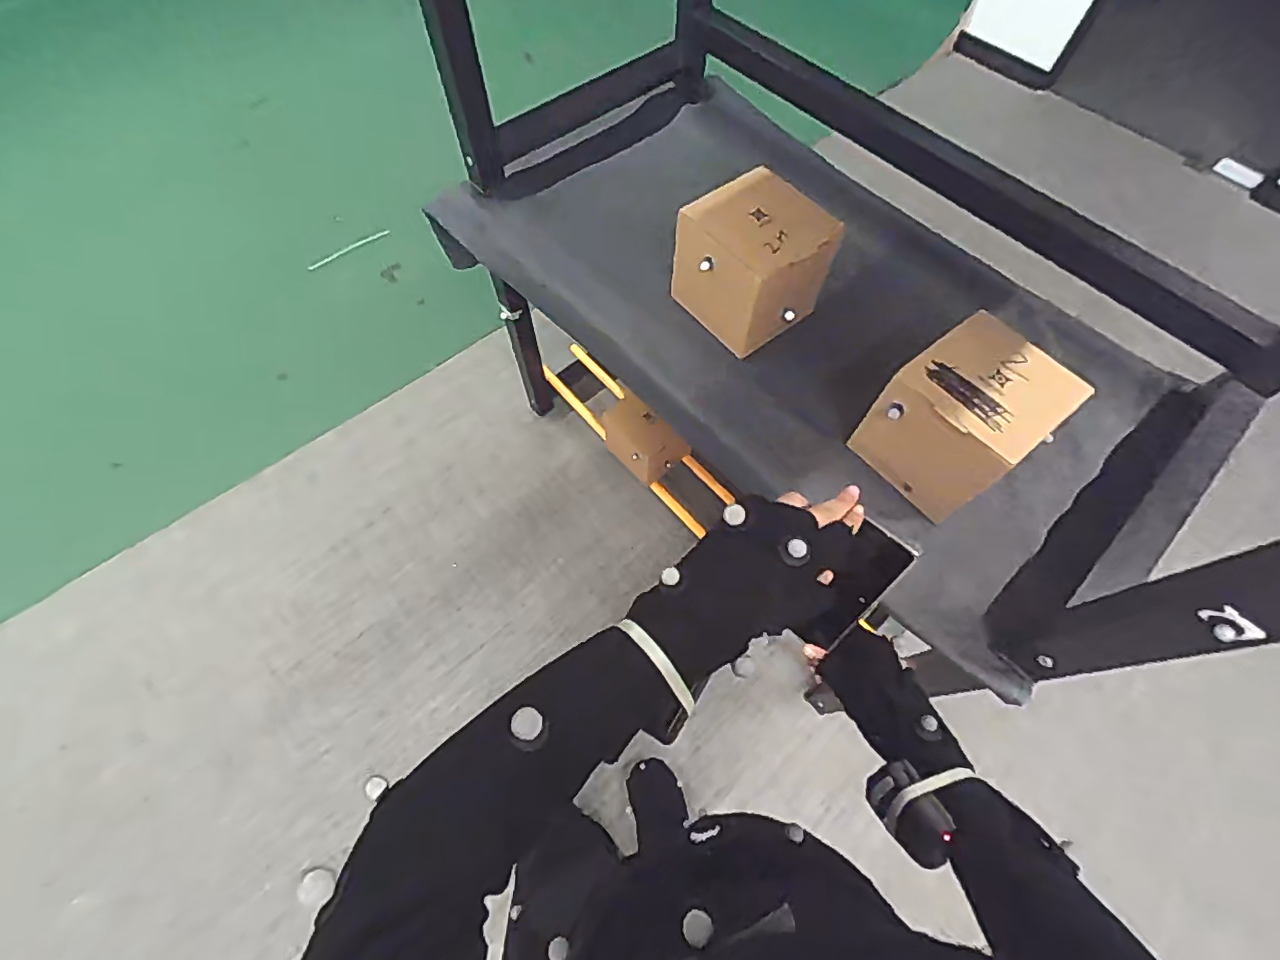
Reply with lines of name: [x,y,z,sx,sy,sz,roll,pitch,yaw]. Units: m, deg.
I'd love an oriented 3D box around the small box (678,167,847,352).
small box: [0.174,-0.335,0.837,0.168,0.176,0.179,-35,70,-16]
